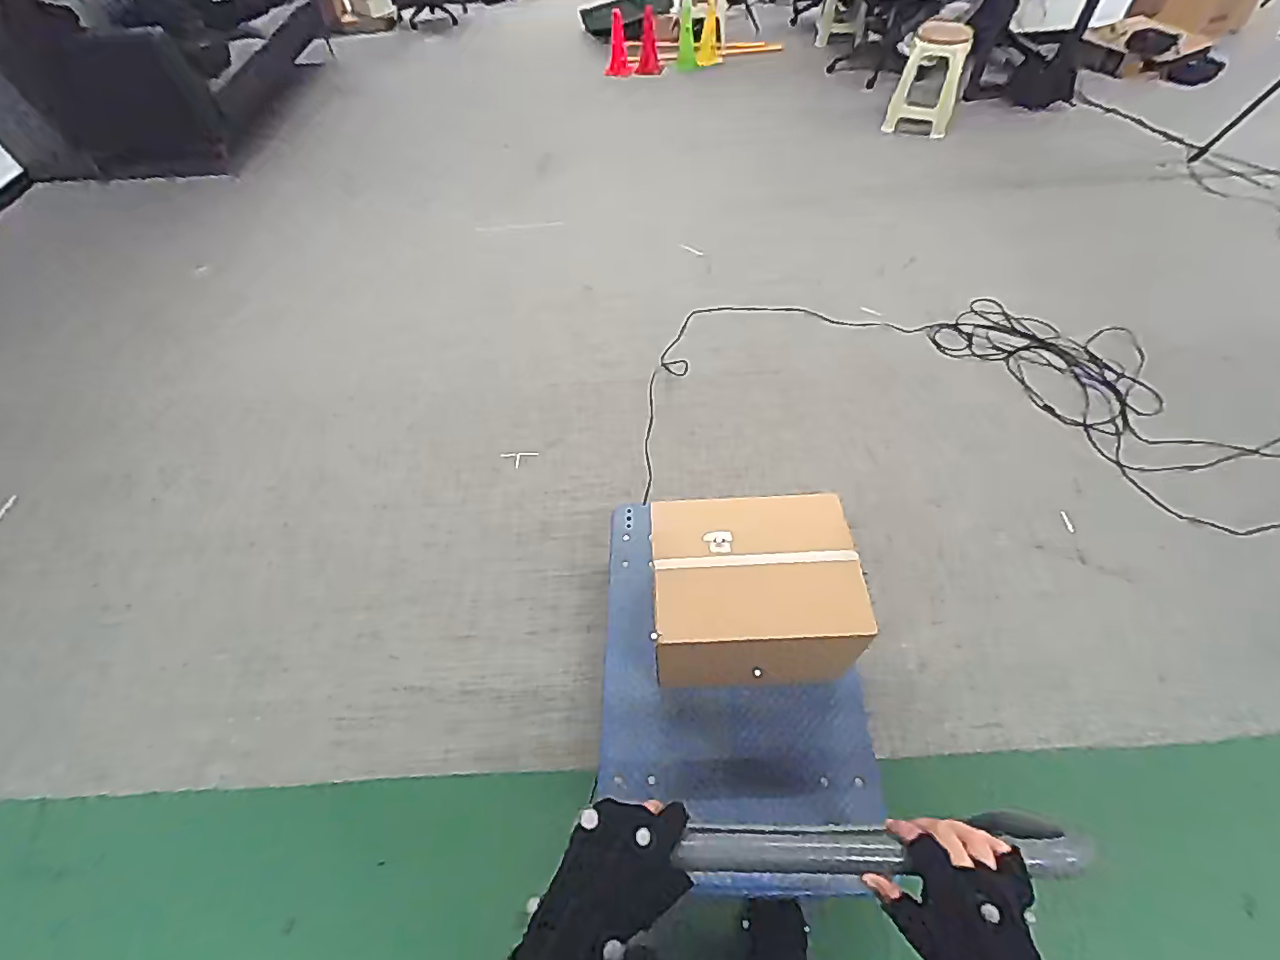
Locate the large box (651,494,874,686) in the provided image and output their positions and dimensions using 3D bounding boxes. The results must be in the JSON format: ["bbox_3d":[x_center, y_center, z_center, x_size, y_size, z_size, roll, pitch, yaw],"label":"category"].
[{"bbox_3d":[0.236,0.254,1.198,0.408,0.320,0.320,-3,53,2],"label":"large box"}]
